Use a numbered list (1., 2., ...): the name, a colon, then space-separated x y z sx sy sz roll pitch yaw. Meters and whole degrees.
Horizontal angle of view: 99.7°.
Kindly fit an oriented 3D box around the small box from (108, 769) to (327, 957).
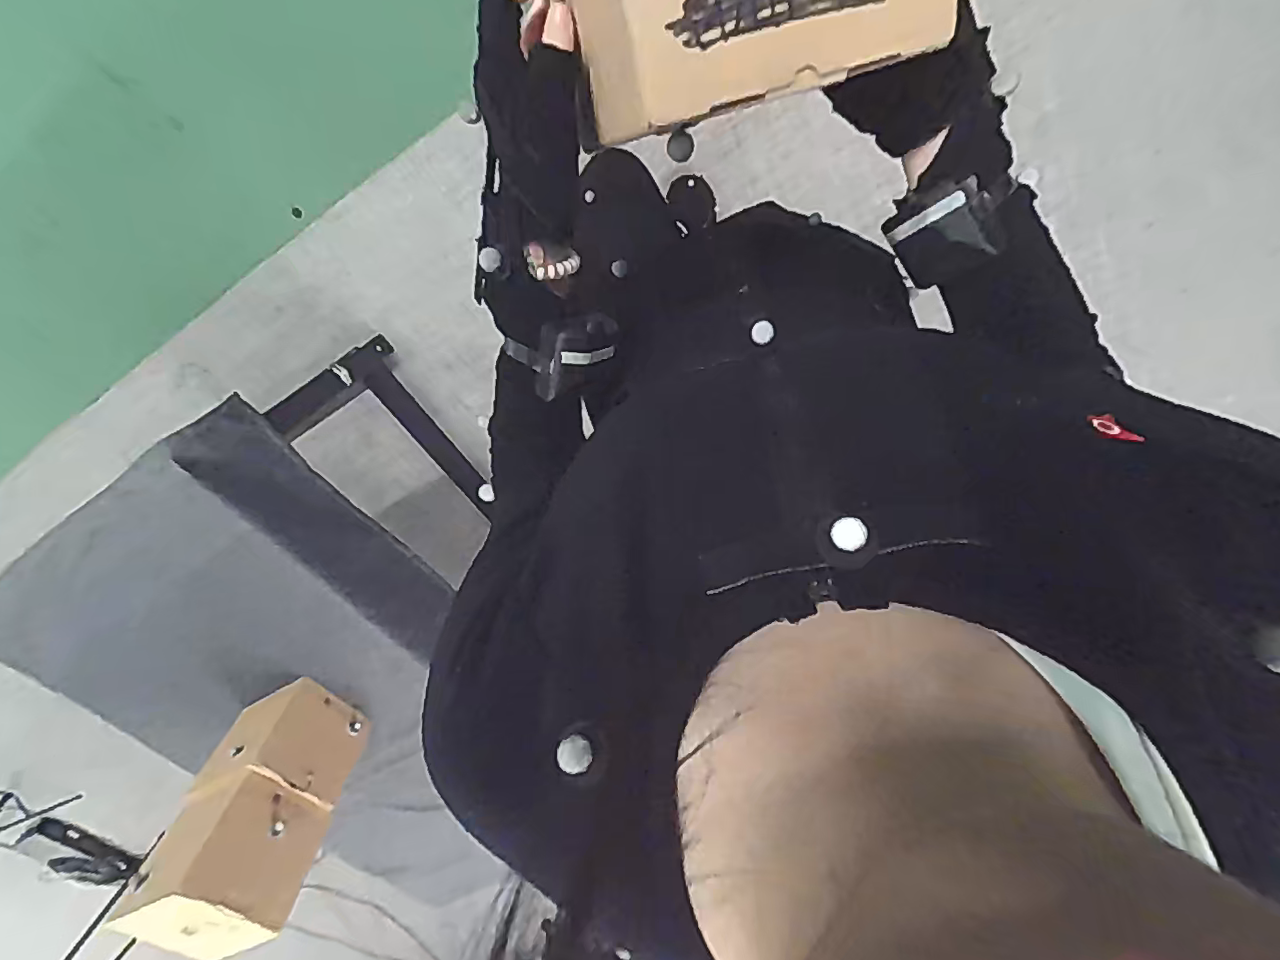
1. small box: -0.633 0.587 0.836 0.179 0.176 0.168 -30 117 16

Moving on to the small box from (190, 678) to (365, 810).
1. small box: -0.628 0.487 0.968 0.179 0.176 0.168 -28 117 16
